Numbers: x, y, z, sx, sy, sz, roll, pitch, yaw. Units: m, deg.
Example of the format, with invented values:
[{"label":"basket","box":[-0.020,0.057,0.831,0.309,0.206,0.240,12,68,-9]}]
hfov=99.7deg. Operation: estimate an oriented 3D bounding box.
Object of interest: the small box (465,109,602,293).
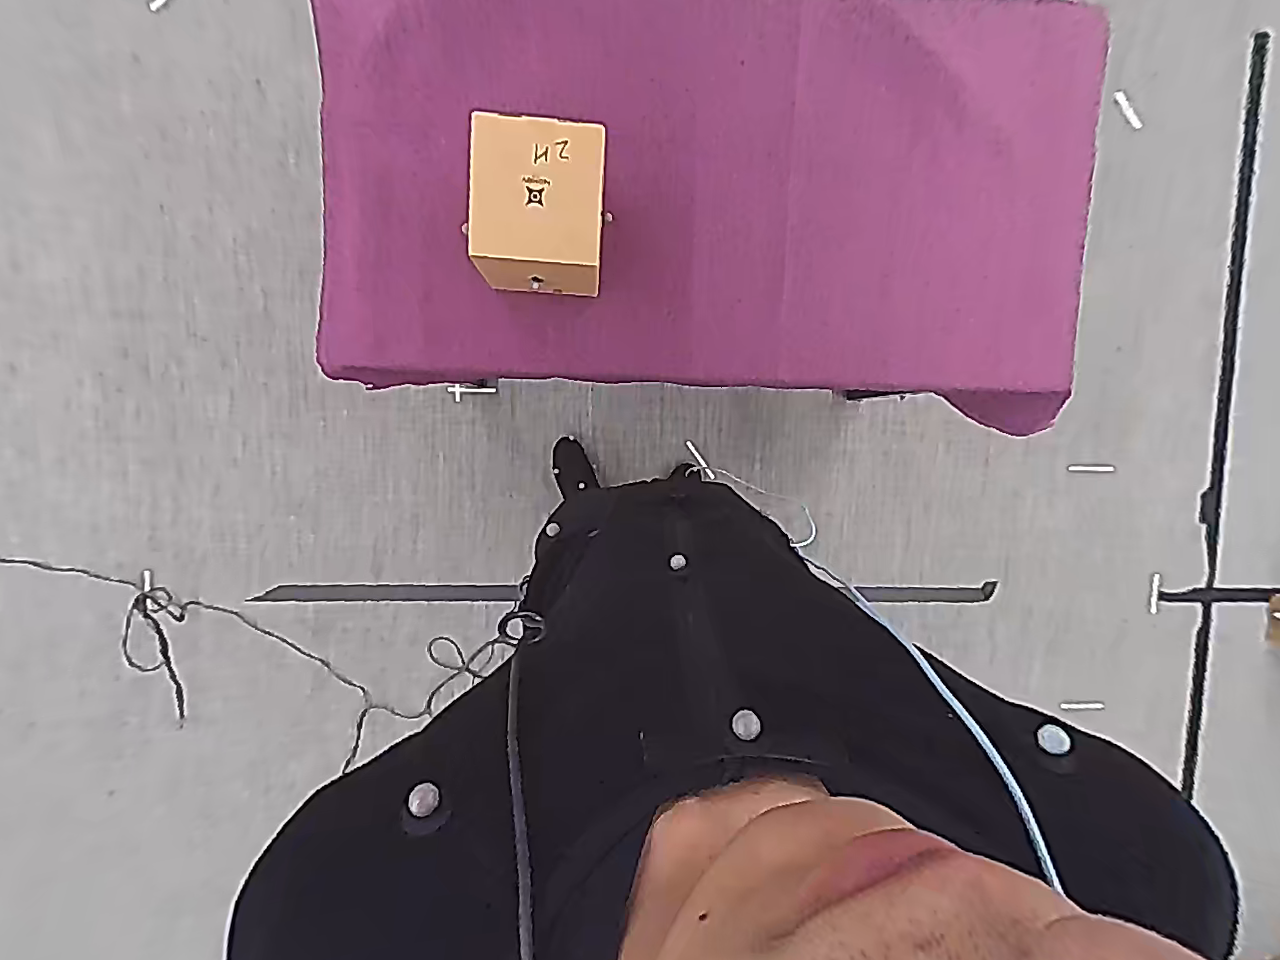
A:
[{"label":"small box","box":[-0.139,-0.370,0.753,0.168,0.176,0.179,3,95,-6]}]
